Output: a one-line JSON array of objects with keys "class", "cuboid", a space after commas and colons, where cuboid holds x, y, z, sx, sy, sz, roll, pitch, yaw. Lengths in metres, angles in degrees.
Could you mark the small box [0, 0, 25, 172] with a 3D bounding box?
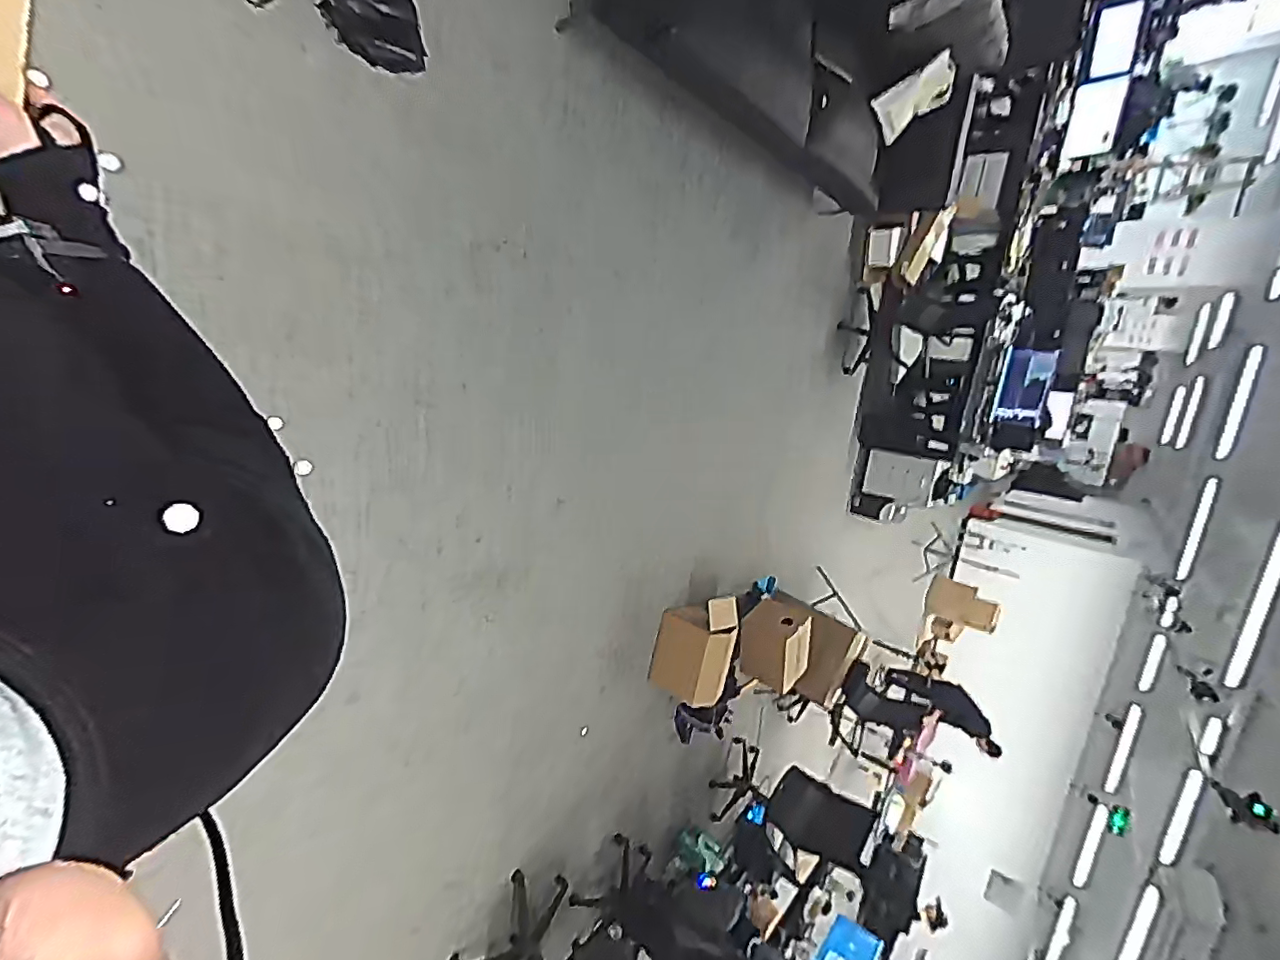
[{"class": "small box", "cuboid": [-0.603, -0.372, 0.415, 0.168, 0.176, 0.179, 4, 94, -50]}]
